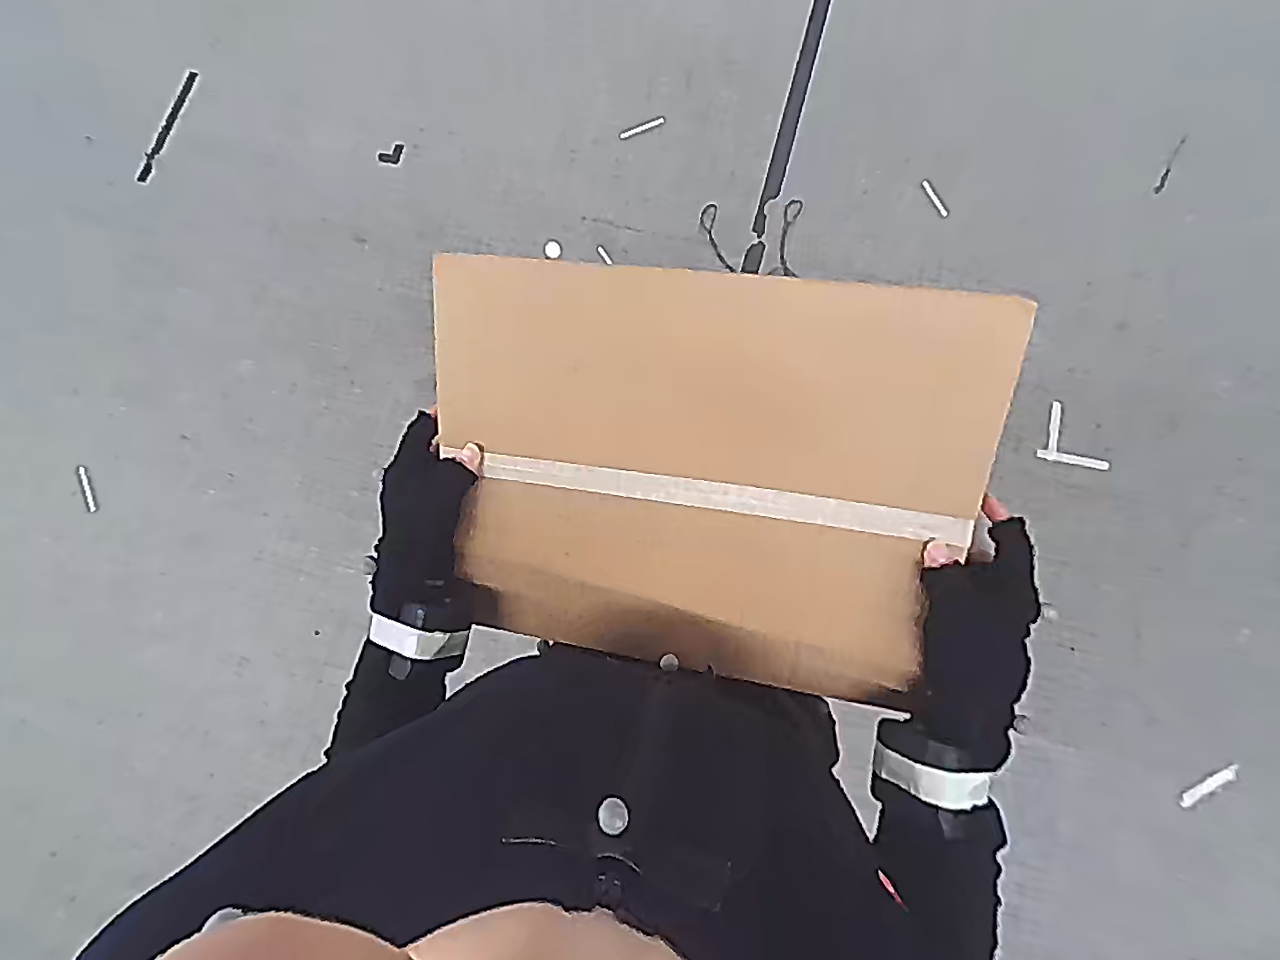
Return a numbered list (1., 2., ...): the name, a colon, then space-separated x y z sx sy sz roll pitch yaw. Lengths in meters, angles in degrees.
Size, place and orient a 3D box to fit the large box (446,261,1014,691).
1. large box: 0.064 -0.041 0.562 0.408 0.320 0.320 8 110 10
